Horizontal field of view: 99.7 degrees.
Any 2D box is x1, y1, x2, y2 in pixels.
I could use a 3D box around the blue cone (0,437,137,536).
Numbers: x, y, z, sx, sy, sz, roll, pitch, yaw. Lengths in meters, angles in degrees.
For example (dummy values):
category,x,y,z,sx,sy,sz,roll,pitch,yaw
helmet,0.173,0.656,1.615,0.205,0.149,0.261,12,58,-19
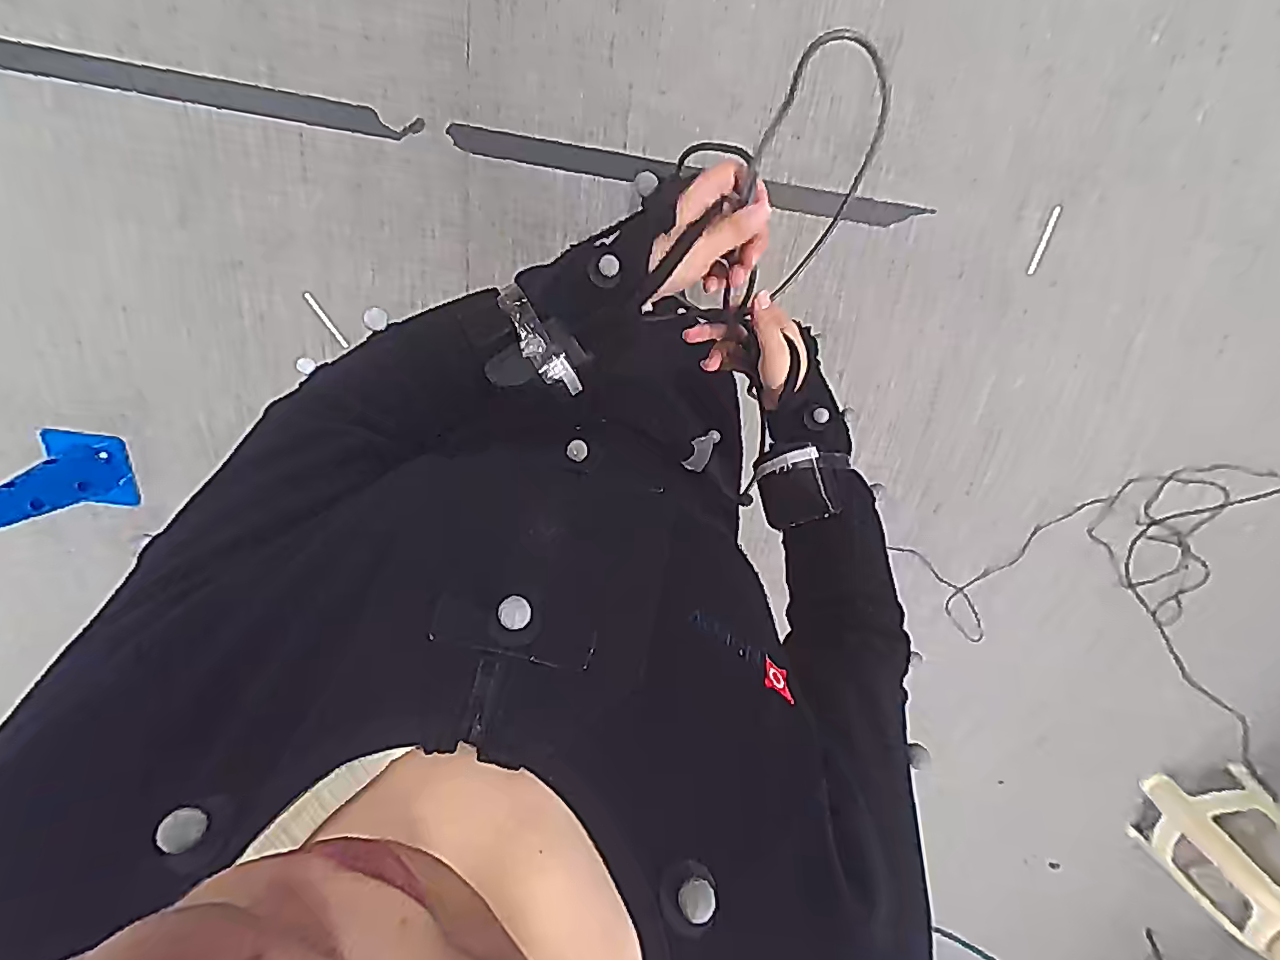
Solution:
category,x,y,z,sx,sy,sz,roll,pitch,yaw
blue cone,-1.407,0.054,1.238,0.193,0.380,0.192,8,115,-4
